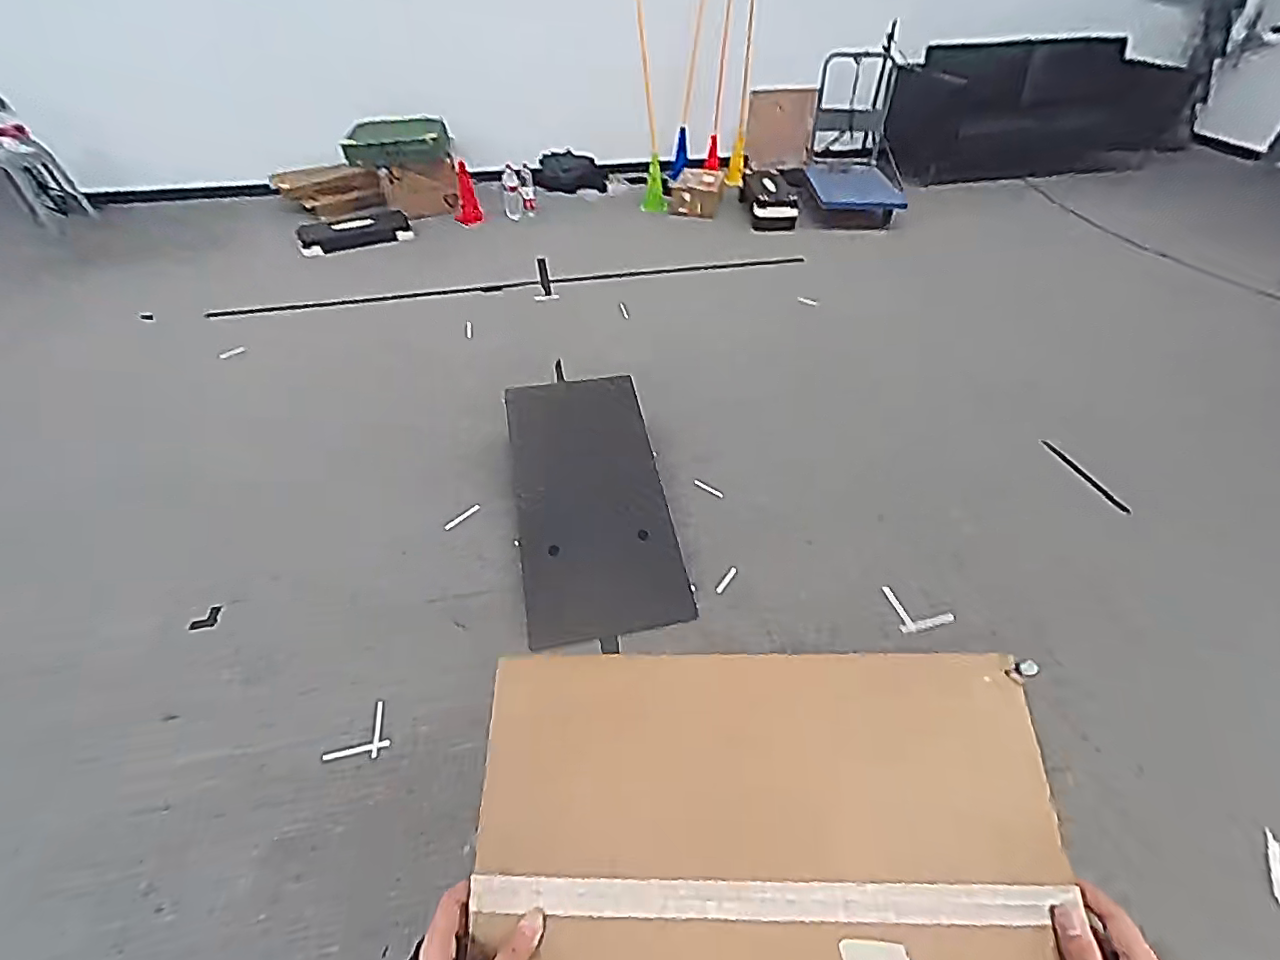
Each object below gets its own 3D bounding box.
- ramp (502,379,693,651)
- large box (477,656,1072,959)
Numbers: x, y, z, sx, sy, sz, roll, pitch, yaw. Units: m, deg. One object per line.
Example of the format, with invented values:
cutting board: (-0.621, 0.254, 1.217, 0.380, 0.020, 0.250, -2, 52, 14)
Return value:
ramp: (-0.179, 0.043, 1.814, 0.509, 0.206, 0.991, -9, 46, -11)
large box: (0.091, 0.352, 0.511, 0.408, 0.320, 0.320, -2, 66, 3)
